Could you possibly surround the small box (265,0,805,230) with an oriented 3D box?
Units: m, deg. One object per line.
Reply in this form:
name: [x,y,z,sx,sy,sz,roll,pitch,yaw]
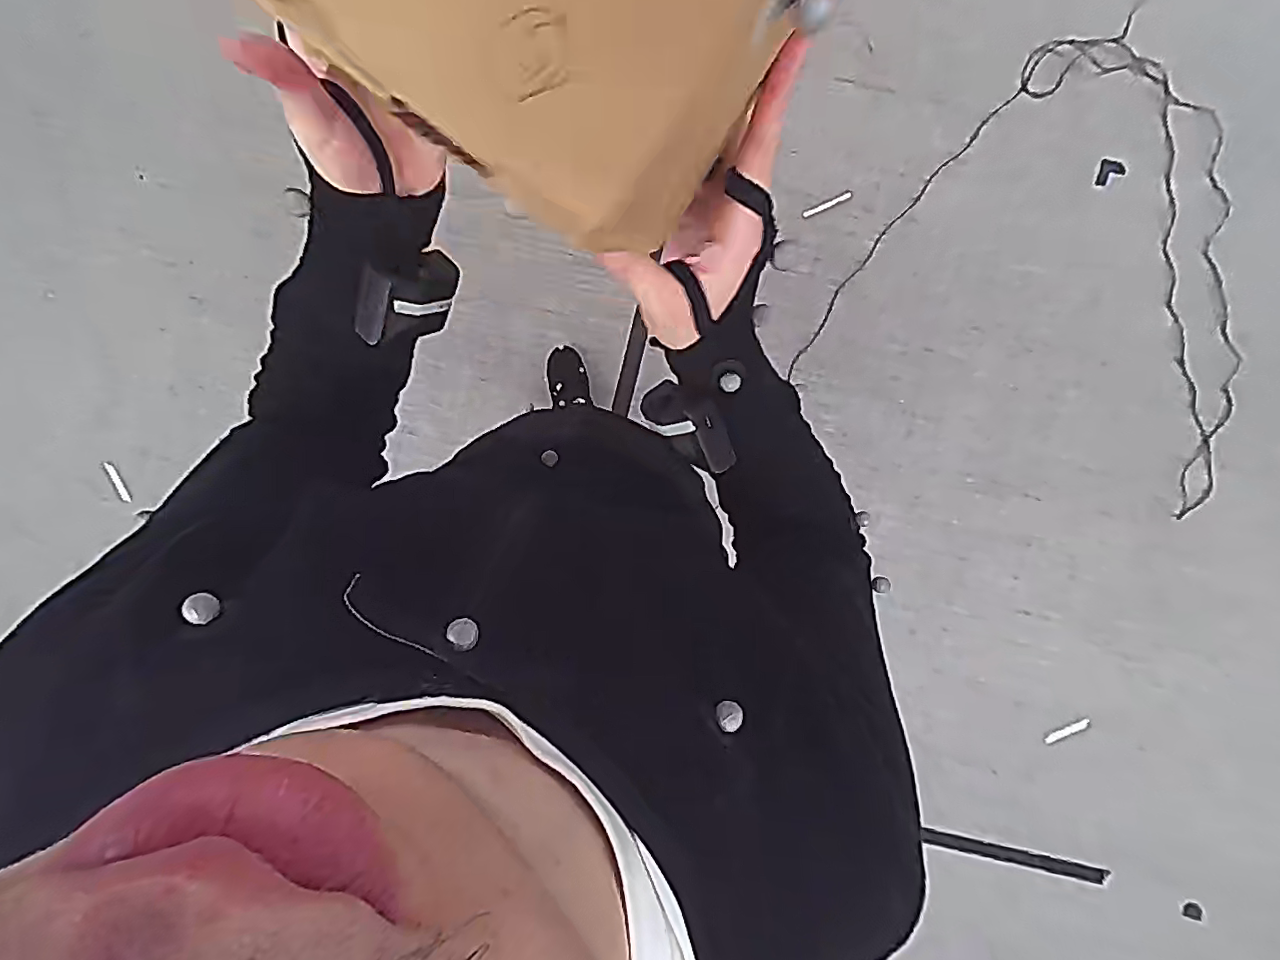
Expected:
small box: [-0.020,-0.205,0.178,0.168,0.176,0.179,33,112,-8]
